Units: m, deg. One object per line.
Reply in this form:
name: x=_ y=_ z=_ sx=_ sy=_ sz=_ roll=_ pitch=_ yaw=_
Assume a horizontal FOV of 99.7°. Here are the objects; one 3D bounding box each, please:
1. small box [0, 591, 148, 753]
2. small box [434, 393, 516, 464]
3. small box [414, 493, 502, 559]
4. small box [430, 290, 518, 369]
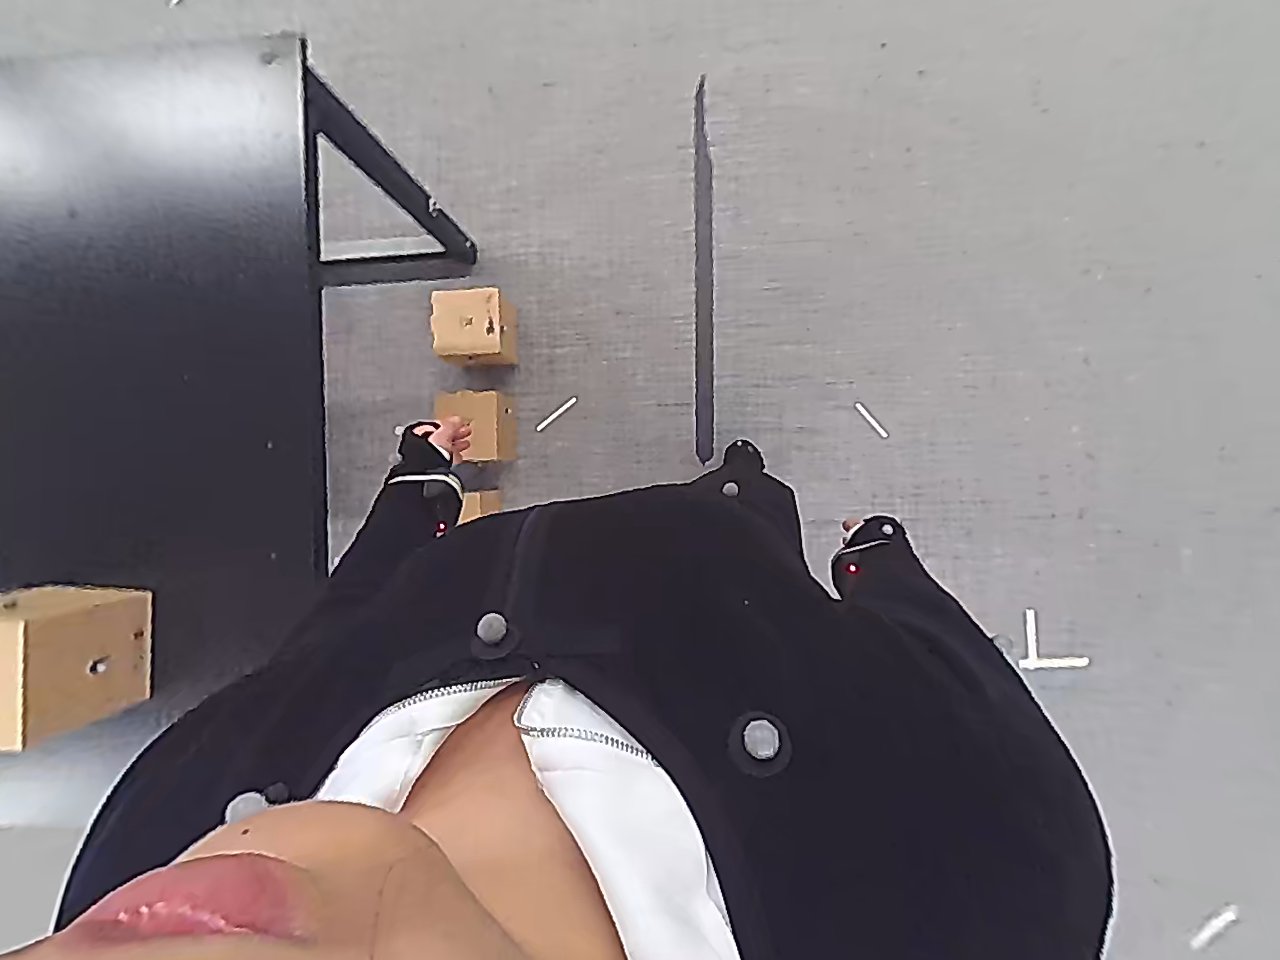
small box: x=-0.845 y=0.255 z=0.757 sx=0.179 sy=0.176 sz=0.168 roll=2 pitch=90 yaw=5
small box: x=-0.439 y=-0.133 z=1.455 sx=0.168 sy=0.176 sz=0.179 roll=-2 pitch=91 yaw=5
small box: x=-0.487 y=0.120 z=1.459 sx=0.179 sy=0.176 sz=0.168 roll=-2 pitch=91 yaw=4
small box: x=-0.440 y=-0.396 z=1.450 sx=0.179 sy=0.176 sz=0.168 roll=-2 pitch=91 yaw=5
